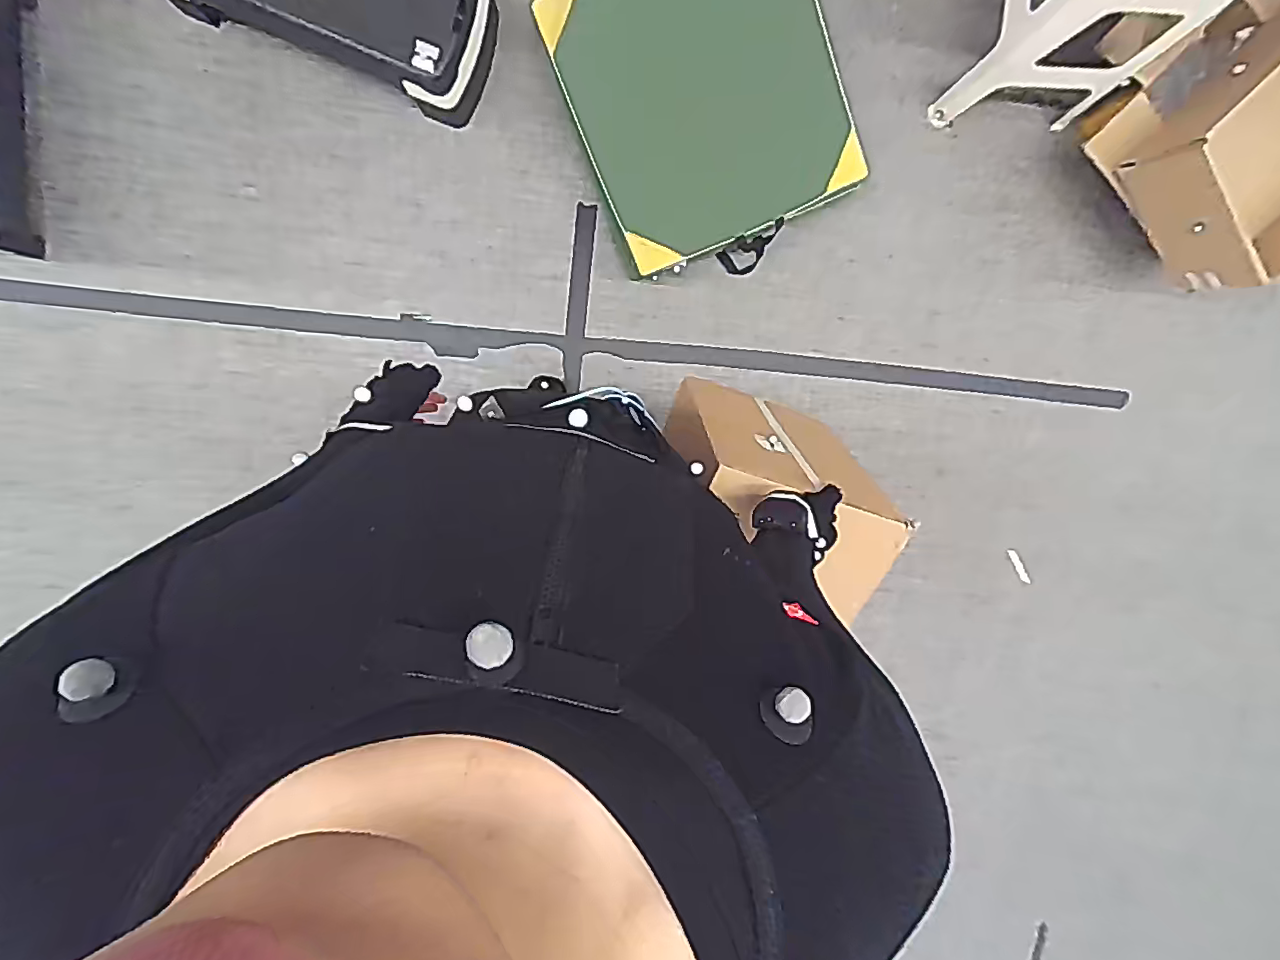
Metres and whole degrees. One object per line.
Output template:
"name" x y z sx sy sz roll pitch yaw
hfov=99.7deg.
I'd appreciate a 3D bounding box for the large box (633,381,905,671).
"large box" 0.184 0.065 0.992 0.320 0.408 0.320 17 116 -10
